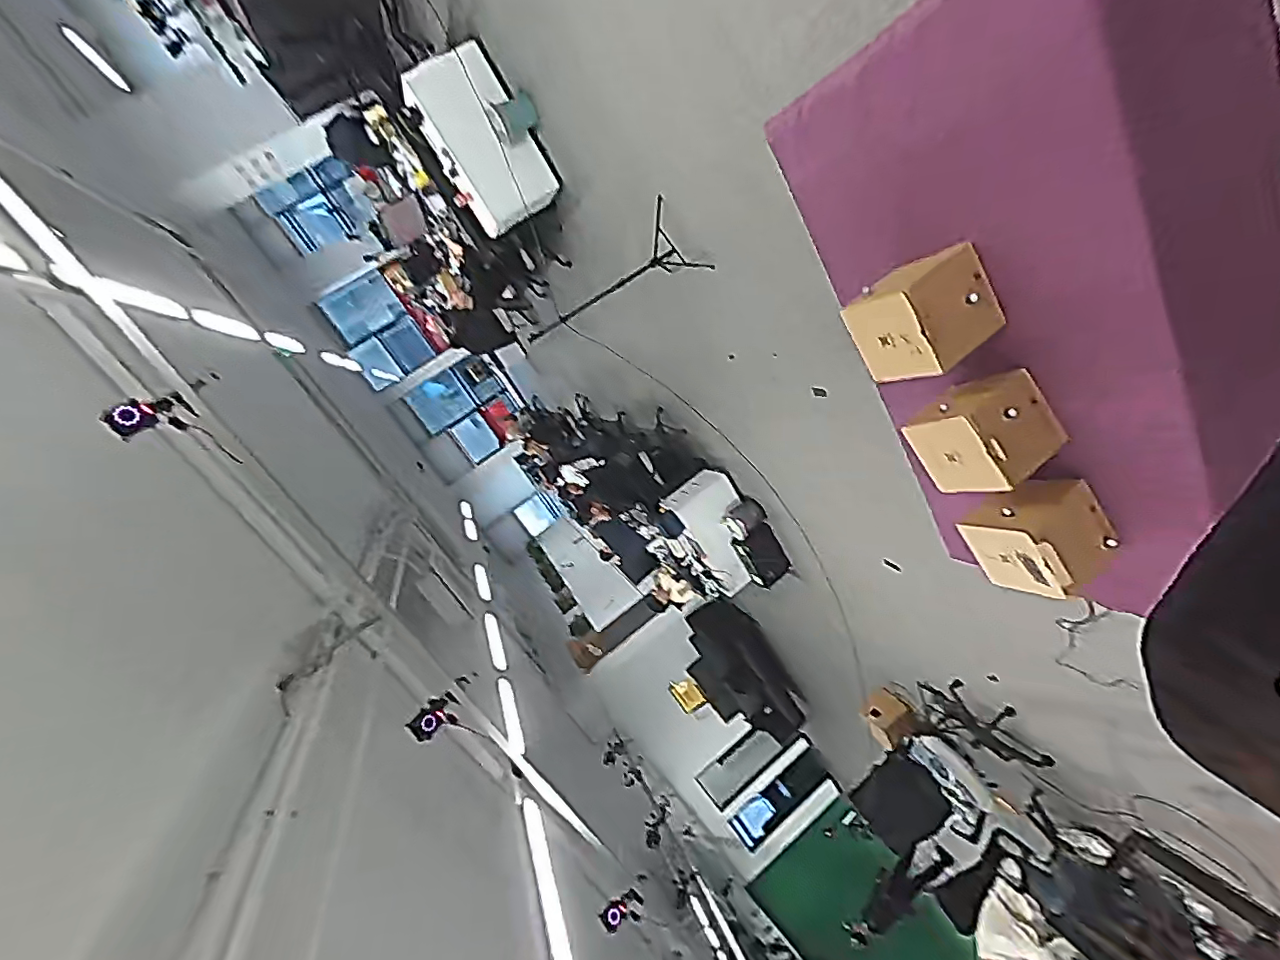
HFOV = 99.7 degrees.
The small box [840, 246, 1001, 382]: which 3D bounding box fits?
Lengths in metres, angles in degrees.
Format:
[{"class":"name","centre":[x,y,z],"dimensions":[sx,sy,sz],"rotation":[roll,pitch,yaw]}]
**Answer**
[{"class":"small box","centre":[0.524,-0.305,1.019],"dimensions":[0.168,0.176,0.179],"rotation":[56,168,-14]}]

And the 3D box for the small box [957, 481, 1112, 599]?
[{"class":"small box","centre":[0.812,0.114,1.110],"dimensions":[0.168,0.176,0.179],"rotation":[55,169,-7]}]

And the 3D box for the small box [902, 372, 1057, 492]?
[{"class":"small box","centre":[0.673,-0.091,1.069],"dimensions":[0.168,0.176,0.179],"rotation":[55,169,-5]}]
